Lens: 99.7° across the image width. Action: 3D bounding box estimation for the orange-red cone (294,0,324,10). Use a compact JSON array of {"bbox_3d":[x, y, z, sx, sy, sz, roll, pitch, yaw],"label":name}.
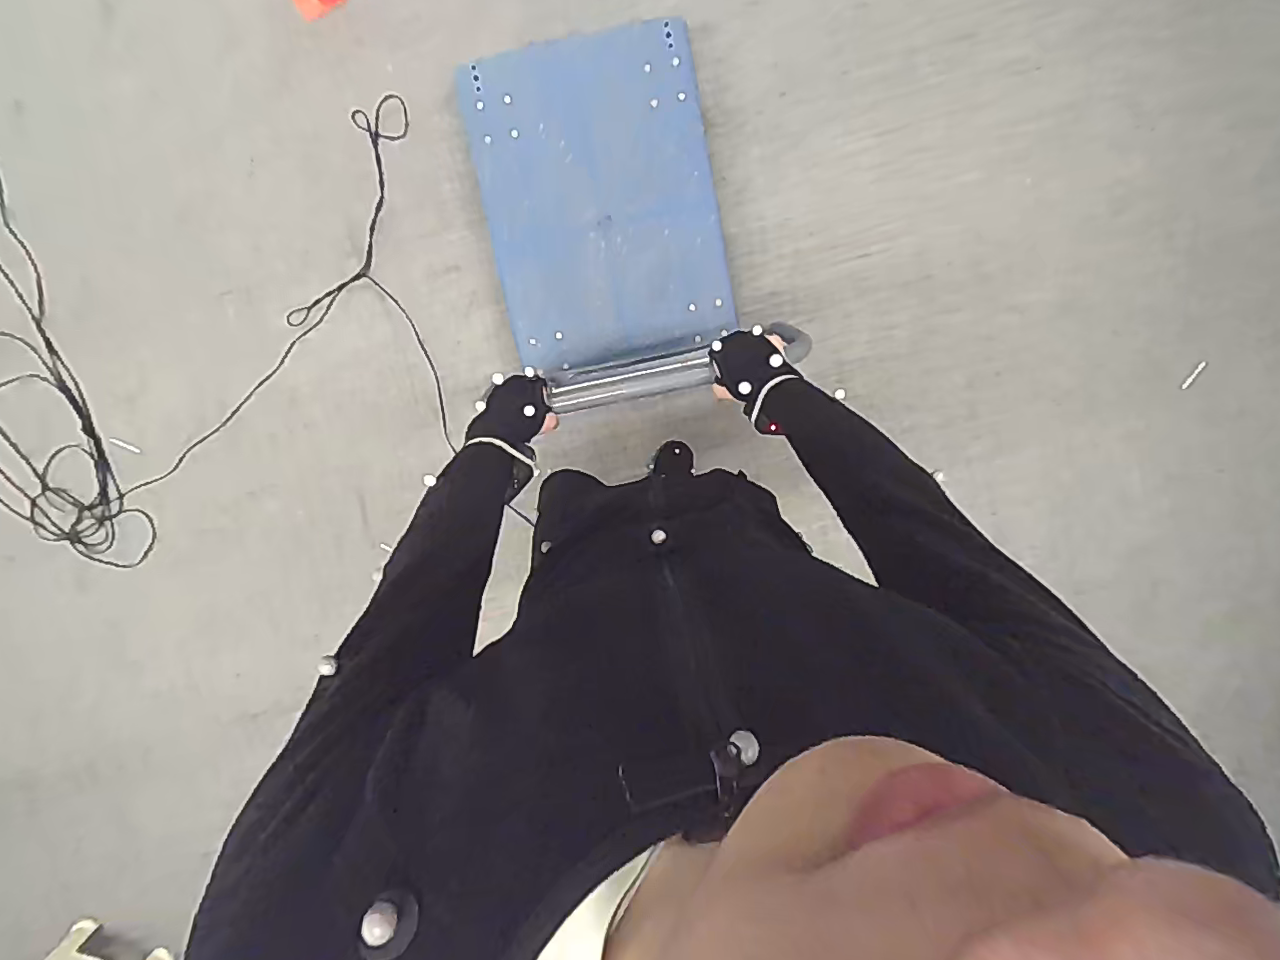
[{"bbox_3d":[-0.869,-1.354,1.260,0.199,0.360,0.198,-29,96,5],"label":"orange-red cone"}]
